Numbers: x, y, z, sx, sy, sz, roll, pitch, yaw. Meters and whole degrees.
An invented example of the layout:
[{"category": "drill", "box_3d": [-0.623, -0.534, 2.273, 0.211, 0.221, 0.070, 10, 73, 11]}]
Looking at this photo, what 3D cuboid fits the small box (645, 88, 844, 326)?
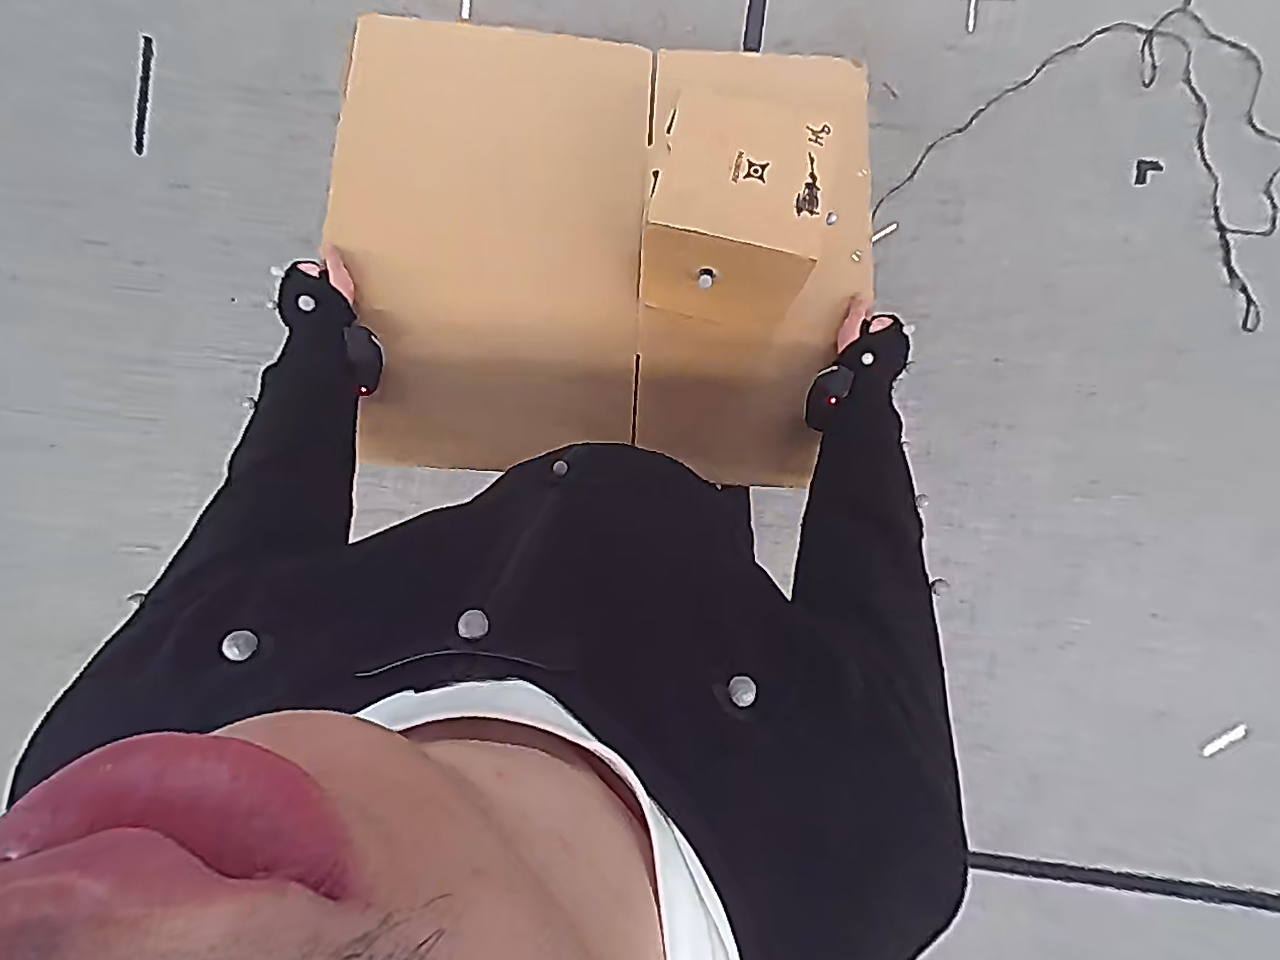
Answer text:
[{"category": "small box", "box_3d": [0.109, -0.300, 0.626, 0.179, 0.176, 0.168, 13, 81, 3]}]
